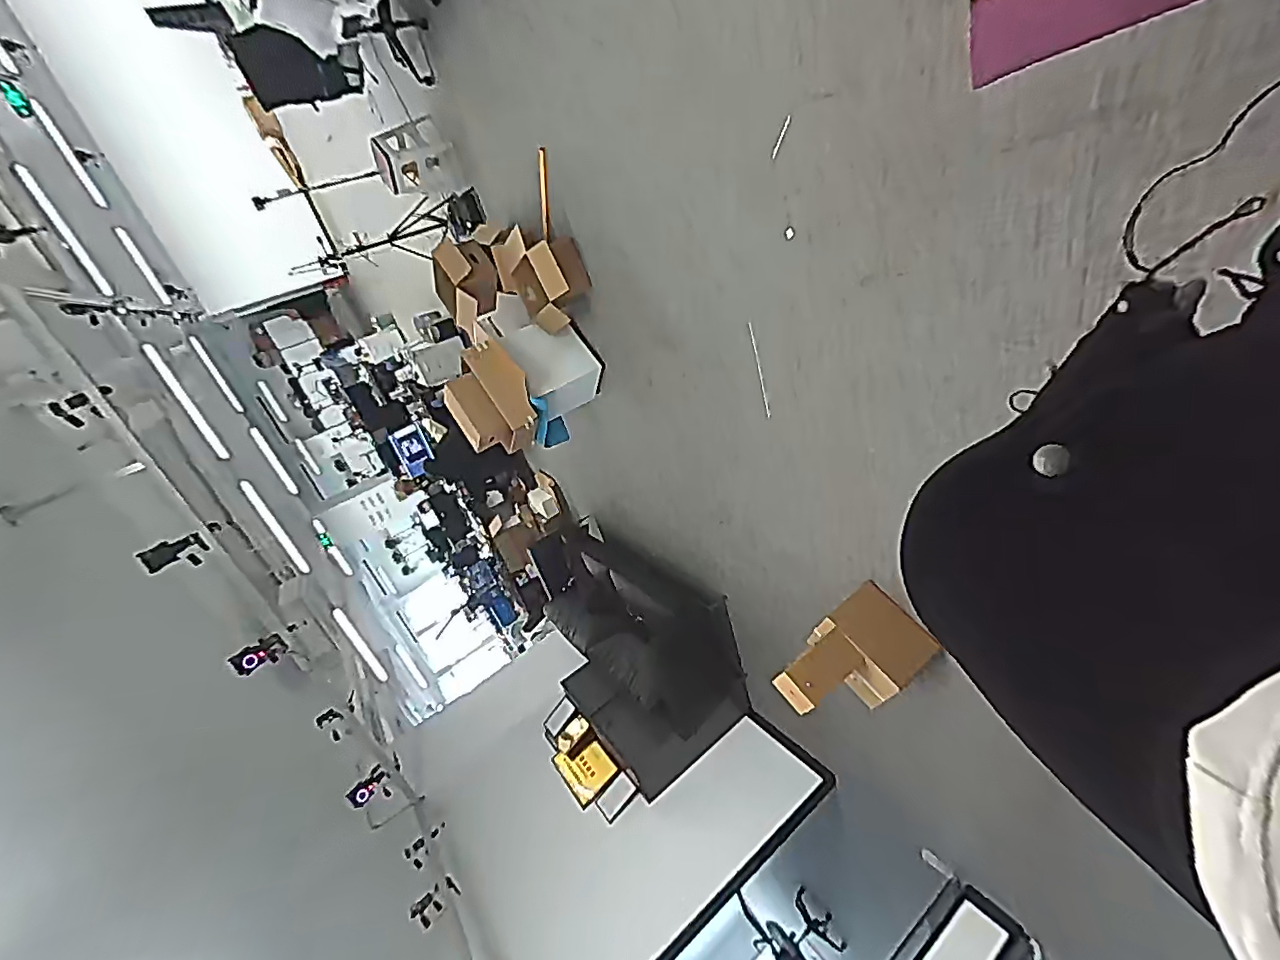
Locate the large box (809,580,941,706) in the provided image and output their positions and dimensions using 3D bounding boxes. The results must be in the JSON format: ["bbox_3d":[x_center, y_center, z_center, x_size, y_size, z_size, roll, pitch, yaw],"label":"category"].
[{"bbox_3d":[1.067,0.744,2.489,0.408,0.320,0.320,45,154,26],"label":"large box"}]

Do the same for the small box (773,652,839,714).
[{"bbox_3d":[0.709,0.858,2.307,0.179,0.176,0.168,47,153,22],"label":"small box"}]
